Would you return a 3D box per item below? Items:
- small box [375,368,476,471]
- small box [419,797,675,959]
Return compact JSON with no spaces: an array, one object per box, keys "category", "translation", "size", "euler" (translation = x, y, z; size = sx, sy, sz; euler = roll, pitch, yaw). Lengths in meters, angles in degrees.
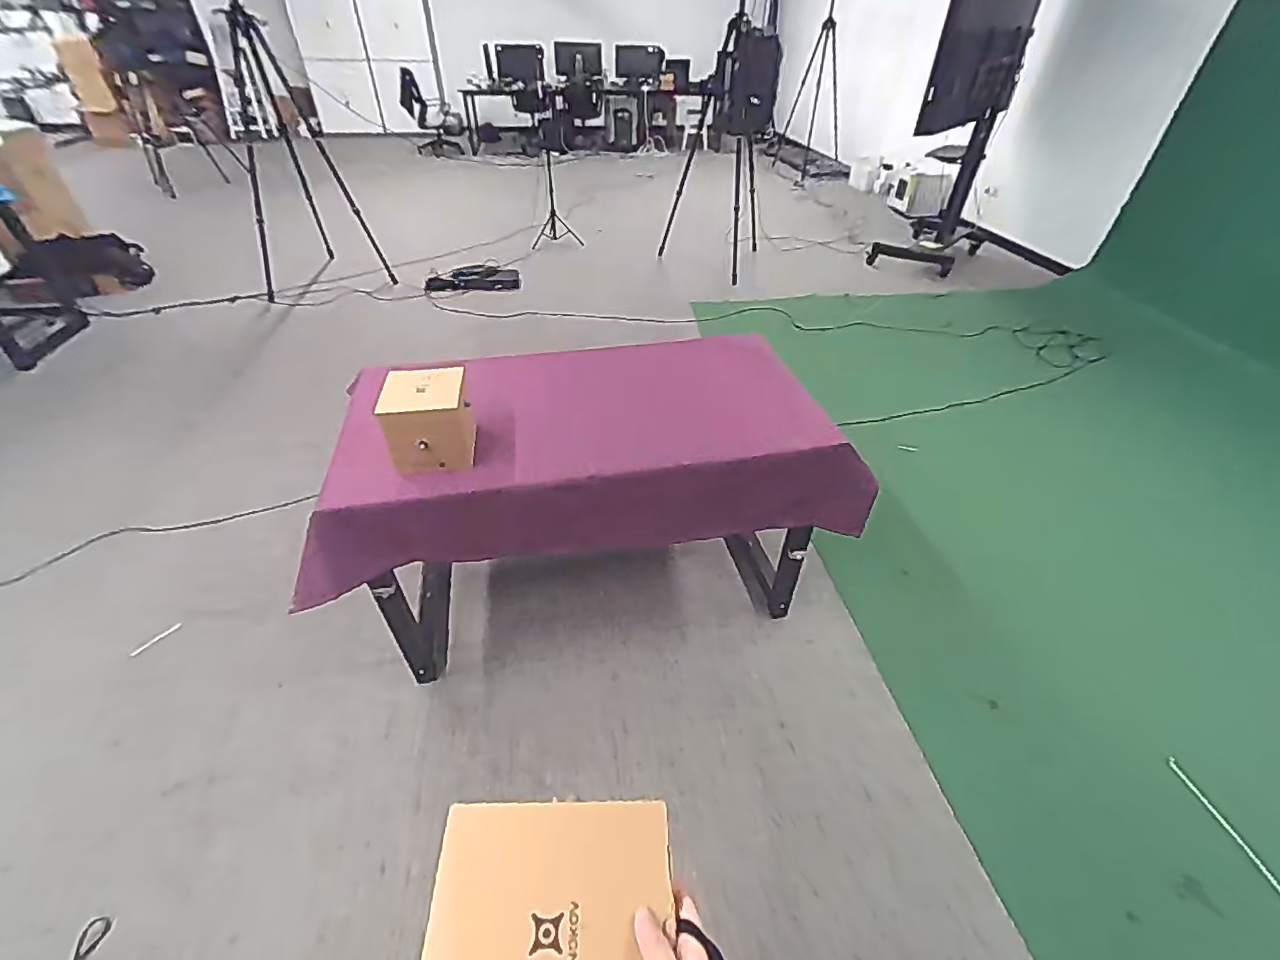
[{"category":"small box","translation":[-0.469,-0.131,1.211],"size":[0.168,0.176,0.179],"euler":[-5,41,-8]},{"category":"small box","translation":[-0.069,0.371,0.432],"size":[0.179,0.176,0.168],"euler":[3,44,-6]}]
